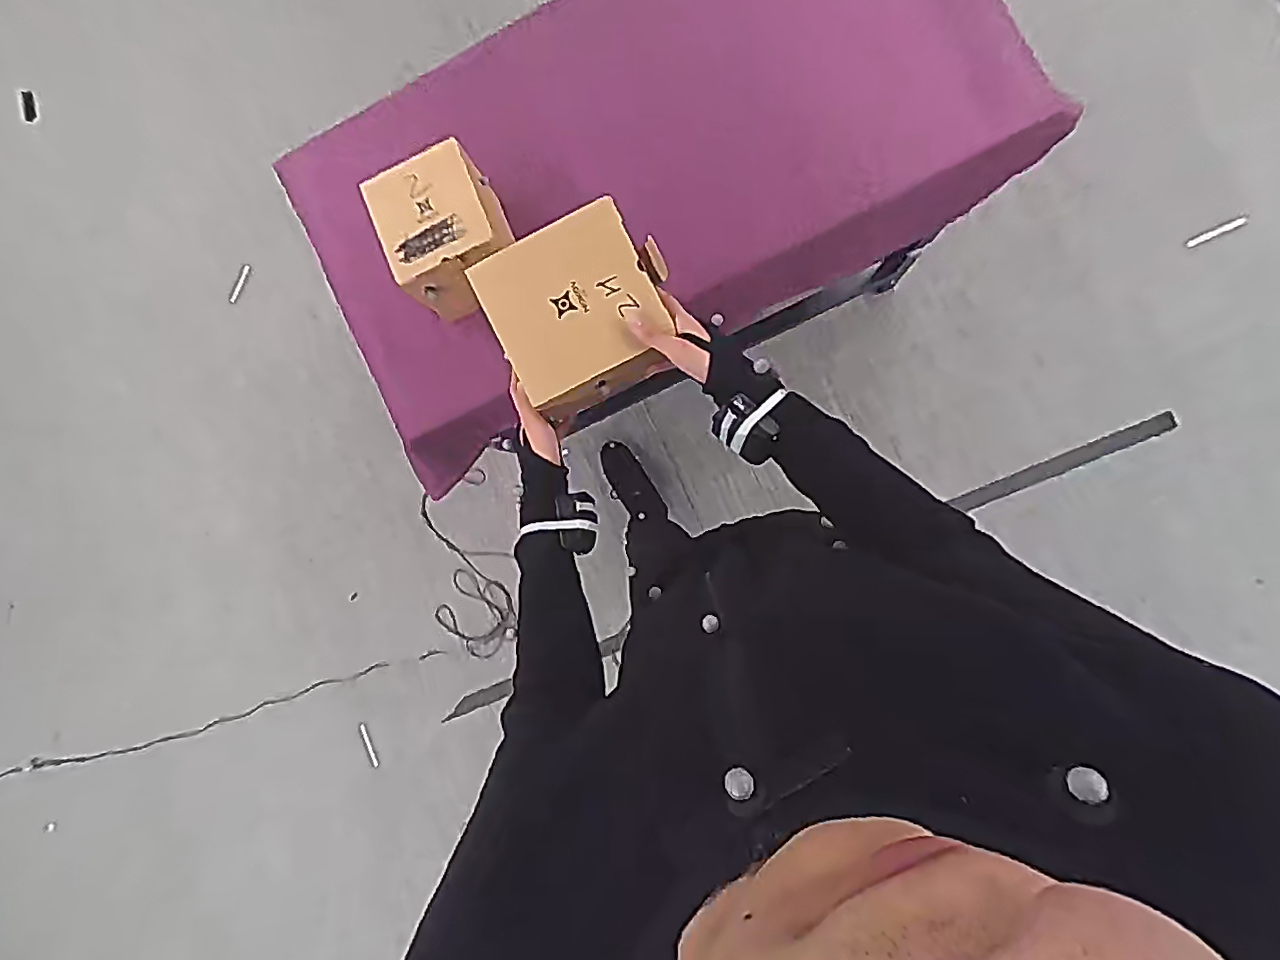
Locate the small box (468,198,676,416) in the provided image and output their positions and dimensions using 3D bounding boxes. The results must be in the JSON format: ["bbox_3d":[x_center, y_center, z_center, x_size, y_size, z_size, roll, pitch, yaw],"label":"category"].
[{"bbox_3d":[-0.070,-0.189,0.651,0.179,0.176,0.168,-27,91,1],"label":"small box"}]
